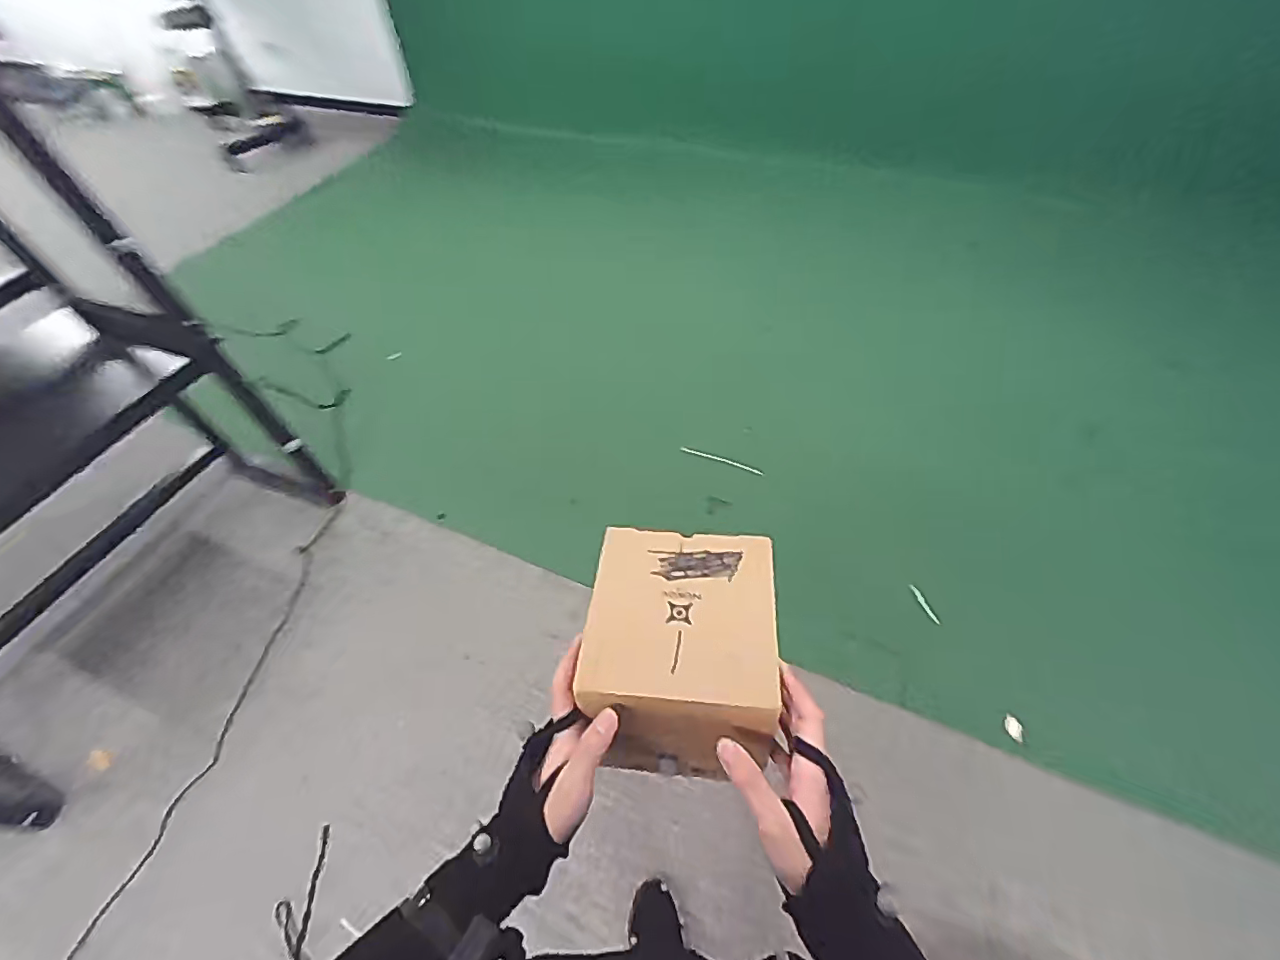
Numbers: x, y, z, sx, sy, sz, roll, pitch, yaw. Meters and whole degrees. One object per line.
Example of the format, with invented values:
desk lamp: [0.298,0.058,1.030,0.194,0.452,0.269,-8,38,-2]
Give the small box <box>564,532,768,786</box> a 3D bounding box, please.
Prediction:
small box: [0.033,0.175,0.537,0.168,0.176,0.179,2,45,7]
